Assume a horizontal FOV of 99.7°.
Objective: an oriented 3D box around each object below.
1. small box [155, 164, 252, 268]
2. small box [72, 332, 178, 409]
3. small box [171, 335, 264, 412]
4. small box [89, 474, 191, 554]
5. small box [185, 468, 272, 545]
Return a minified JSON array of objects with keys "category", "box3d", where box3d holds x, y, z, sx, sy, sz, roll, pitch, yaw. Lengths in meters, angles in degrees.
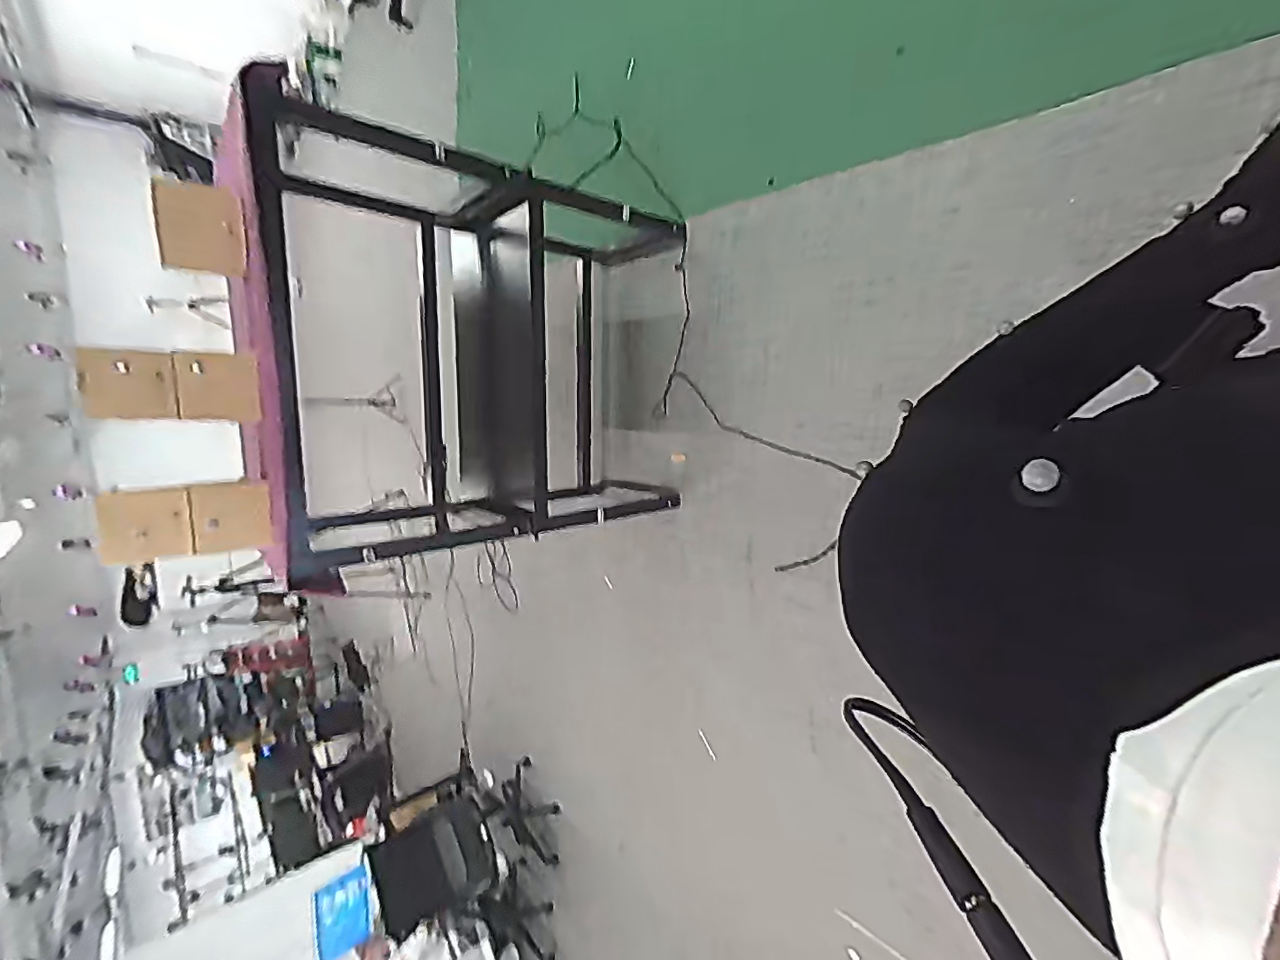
[{"category":"small box","box3d":[-1.068,-0.635,1.324,0.168,0.176,0.179,11,102,49]},{"category":"small box","box3d":[-1.206,-0.255,1.278,0.179,0.176,0.168,11,101,48]},{"category":"small box","box3d":[-1.078,-0.267,1.379,0.168,0.176,0.179,11,103,48]},{"category":"small box","box3d":[-1.201,0.074,1.313,0.179,0.176,0.168,4,97,49]},{"category":"small box","box3d":[-1.077,0.063,1.416,0.168,0.176,0.179,6,97,48]}]
